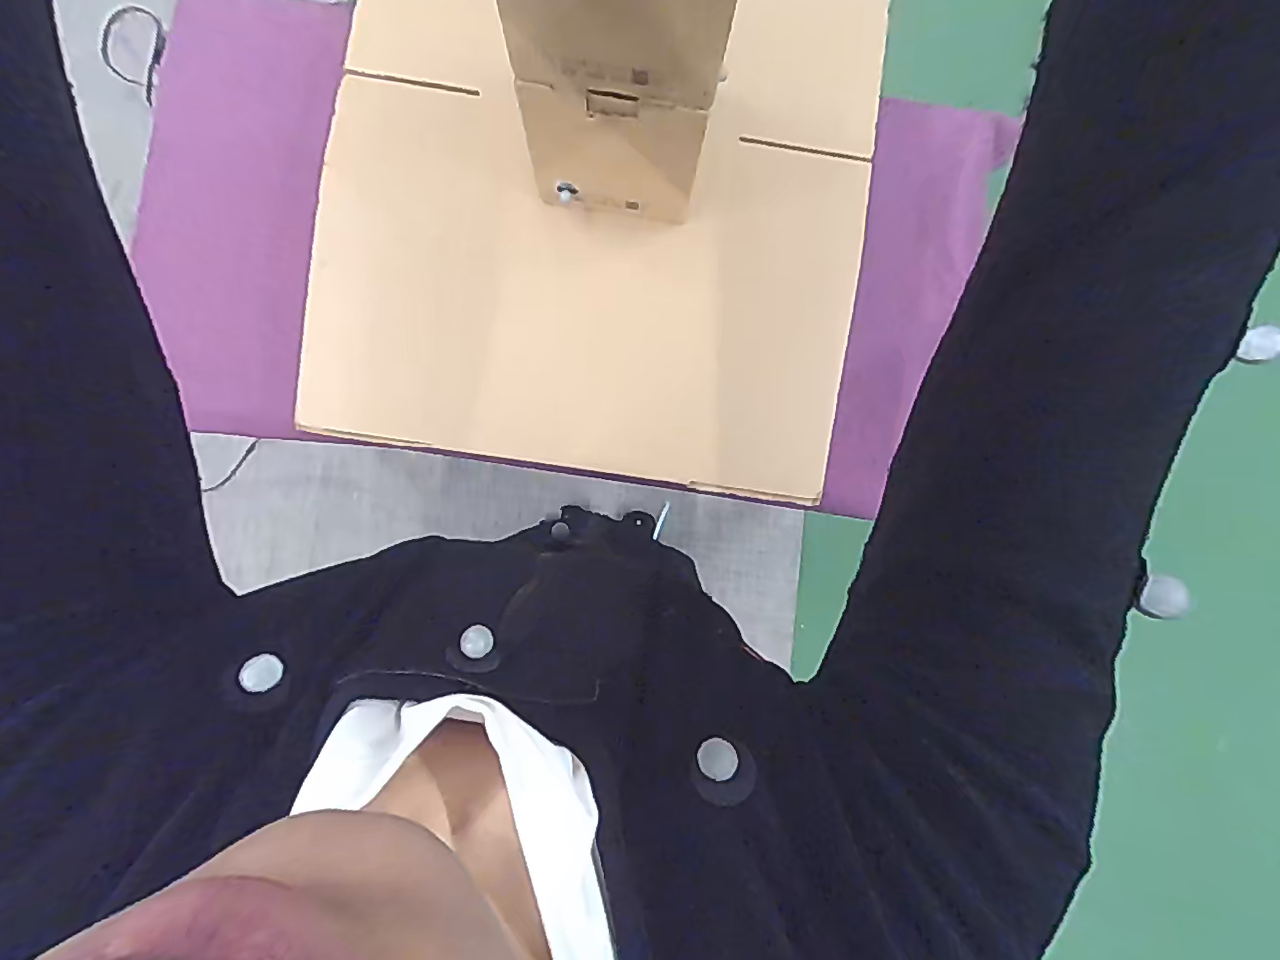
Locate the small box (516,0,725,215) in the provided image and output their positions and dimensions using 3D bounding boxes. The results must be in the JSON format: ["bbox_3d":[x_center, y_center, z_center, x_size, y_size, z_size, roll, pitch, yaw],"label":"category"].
[{"bbox_3d":[-0.014,-0.395,0.534,0.168,0.176,0.179,8,84,-2],"label":"small box"}]
